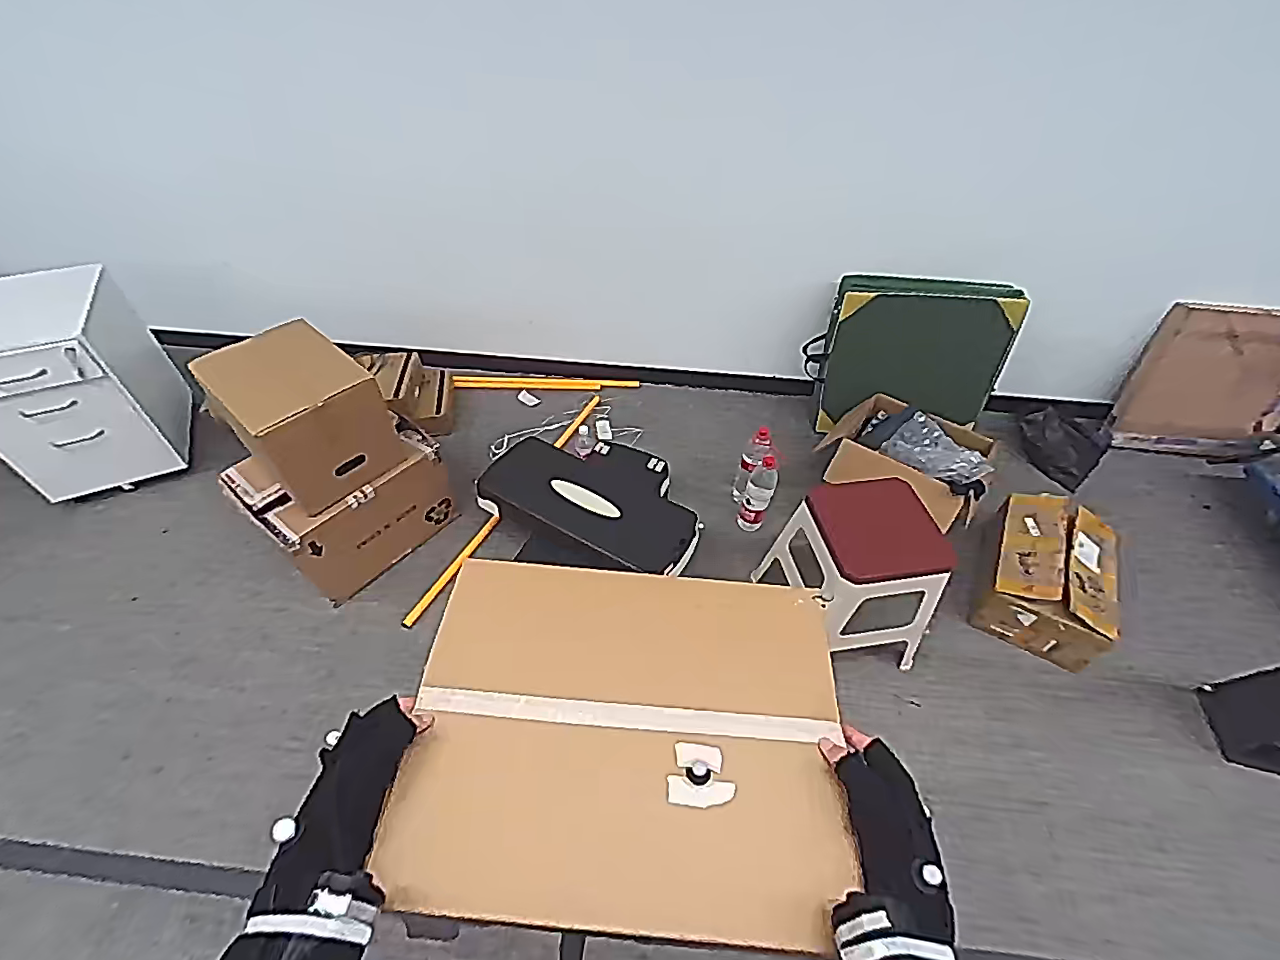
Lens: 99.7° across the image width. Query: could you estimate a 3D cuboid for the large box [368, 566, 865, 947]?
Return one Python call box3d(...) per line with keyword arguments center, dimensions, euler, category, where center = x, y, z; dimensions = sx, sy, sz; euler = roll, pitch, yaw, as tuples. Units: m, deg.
box3d(center=(-0.018, 0.326, 0.631), dimensions=(0.408, 0.320, 0.320), euler=(5, 50, 1), category="large box")
